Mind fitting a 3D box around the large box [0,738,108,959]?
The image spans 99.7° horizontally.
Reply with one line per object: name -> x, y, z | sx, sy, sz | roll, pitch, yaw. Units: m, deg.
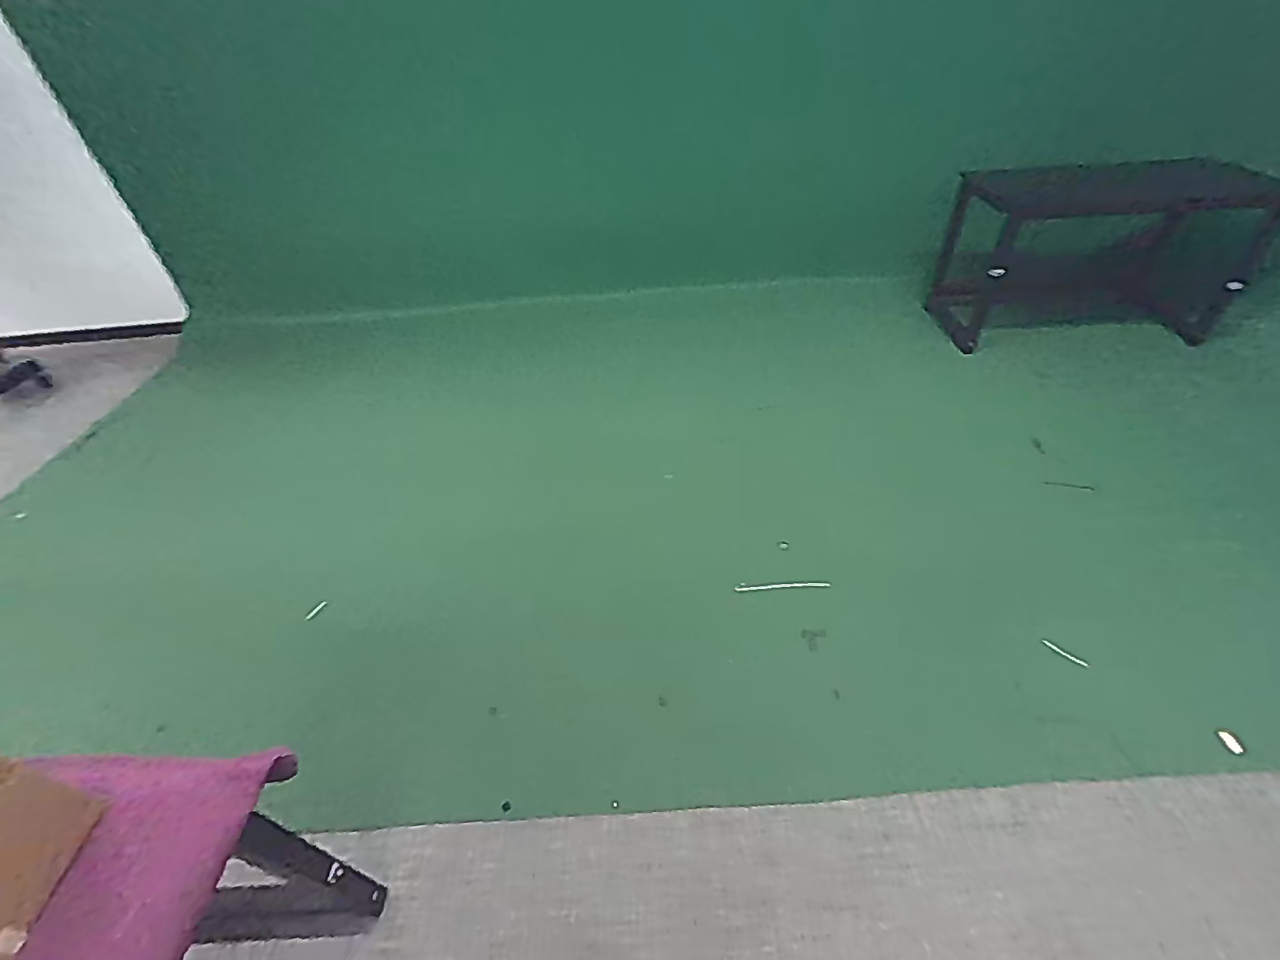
large box -> -0.942, 0.445, 0.553 | 0.408, 0.320, 0.320 | -3, 44, 0
